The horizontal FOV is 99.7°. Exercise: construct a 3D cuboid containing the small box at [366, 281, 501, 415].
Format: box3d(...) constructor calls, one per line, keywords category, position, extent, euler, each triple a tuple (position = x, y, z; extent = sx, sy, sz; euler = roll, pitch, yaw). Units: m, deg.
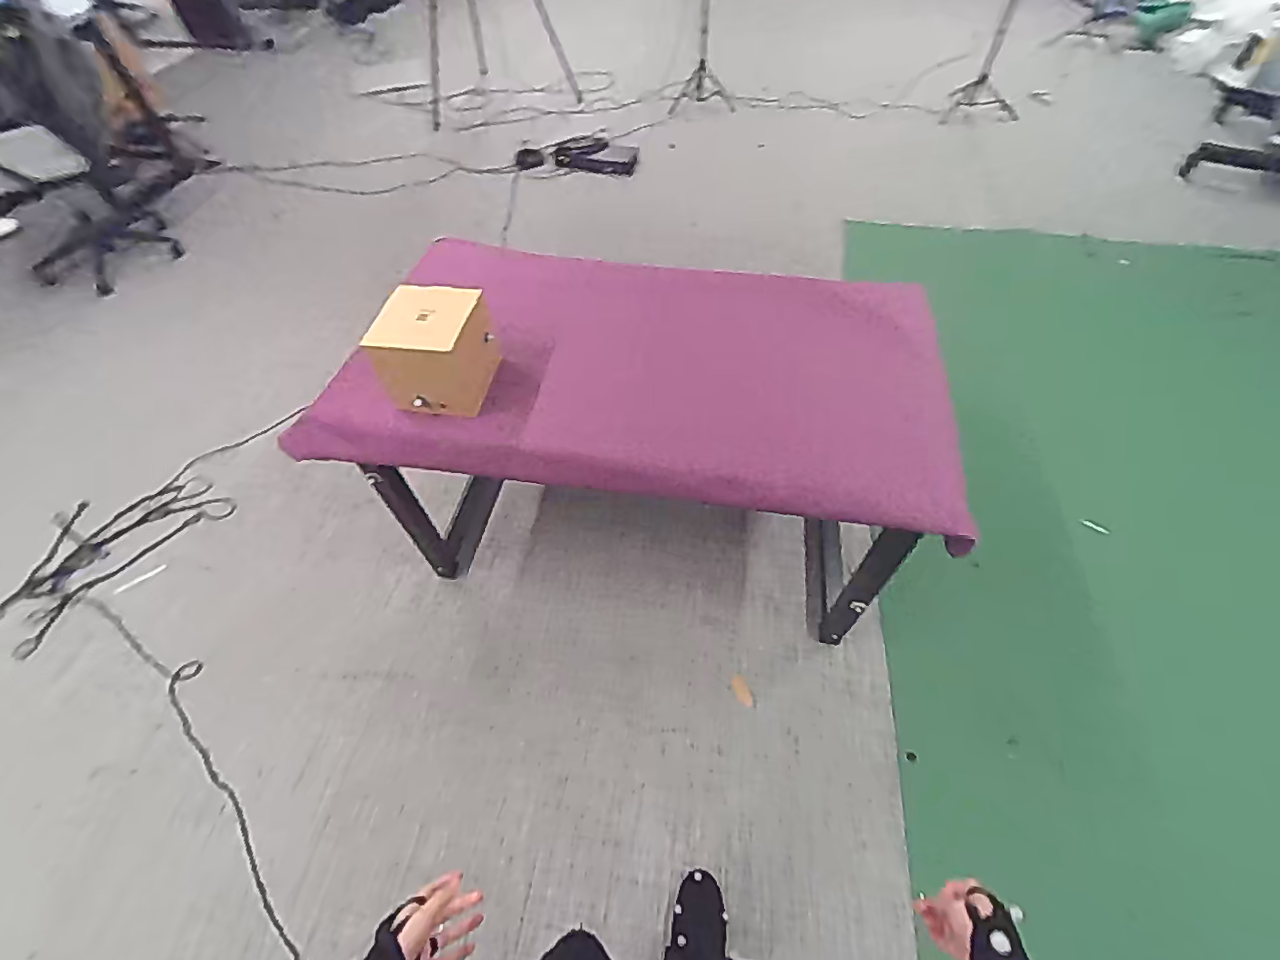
box3d(category="small box", position=(-0.377, -0.249, 1.027), extent=(0.168, 0.176, 0.179), euler=(6, 54, 6))
